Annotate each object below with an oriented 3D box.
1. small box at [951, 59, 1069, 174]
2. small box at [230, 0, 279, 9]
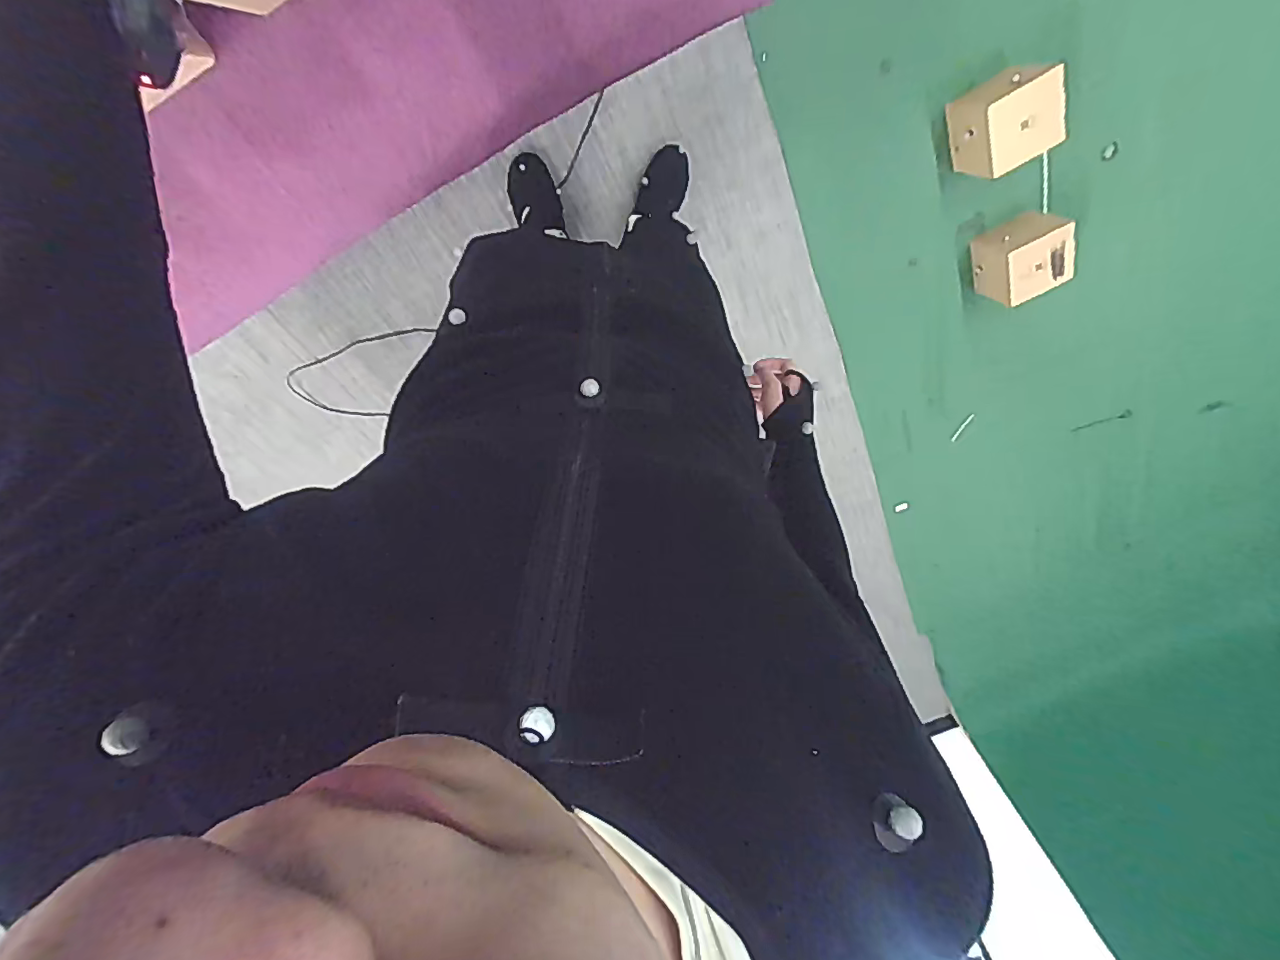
[{"bbox_3d":[0.878,-0.867,1.298,0.179,0.176,0.168,-28,125,10],"label":"small box"},{"bbox_3d":[-0.350,-0.525,0.431,0.168,0.176,0.179,-26,127,10],"label":"small box"}]
